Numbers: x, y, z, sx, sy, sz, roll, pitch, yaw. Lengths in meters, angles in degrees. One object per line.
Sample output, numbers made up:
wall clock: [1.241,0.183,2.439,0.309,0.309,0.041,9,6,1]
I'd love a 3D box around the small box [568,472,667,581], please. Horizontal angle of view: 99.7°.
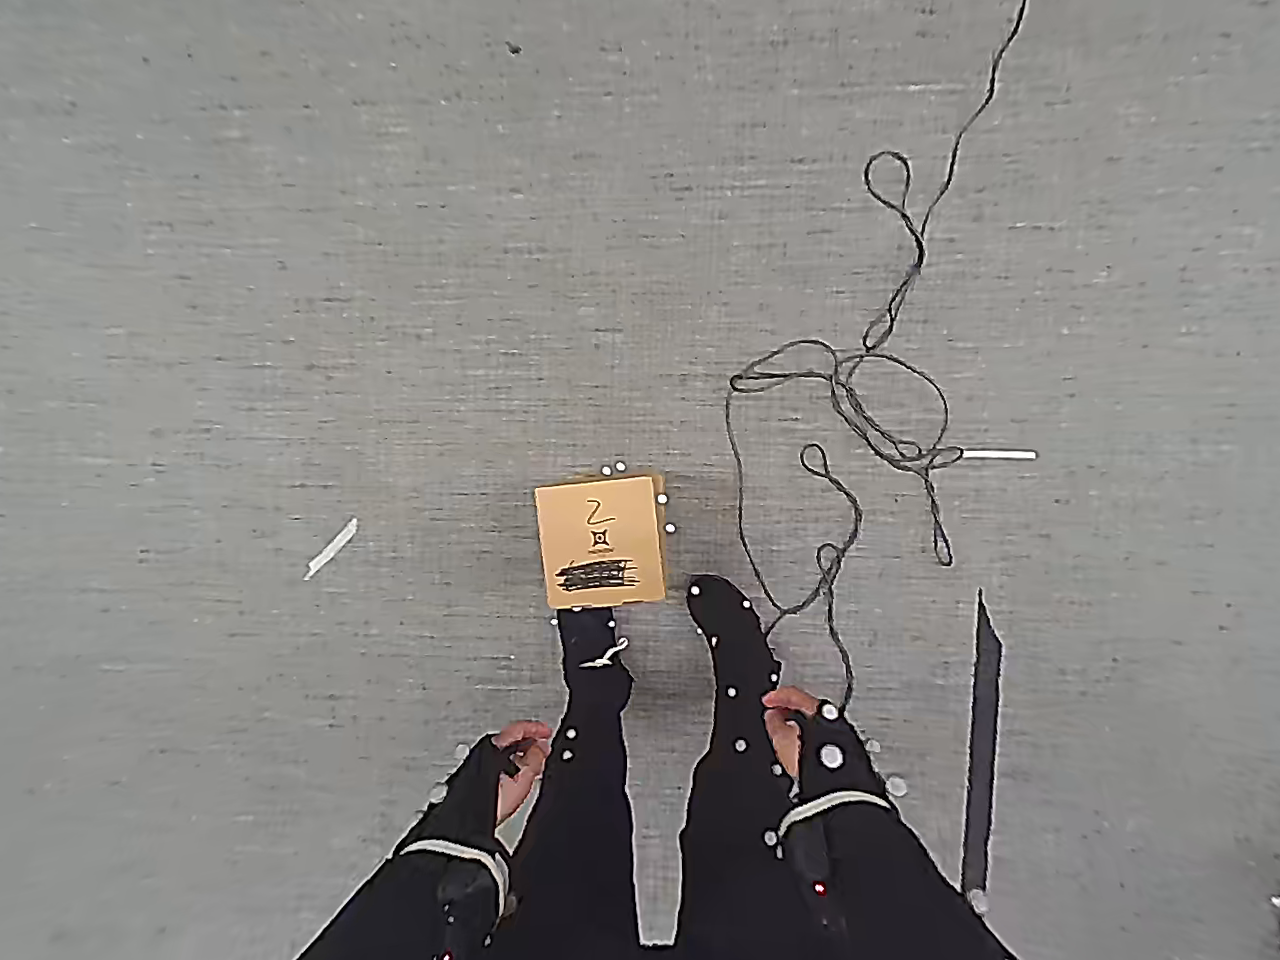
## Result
small box: [-0.034,0.078,0.989,0.168,0.176,0.179,-2,94,3]
